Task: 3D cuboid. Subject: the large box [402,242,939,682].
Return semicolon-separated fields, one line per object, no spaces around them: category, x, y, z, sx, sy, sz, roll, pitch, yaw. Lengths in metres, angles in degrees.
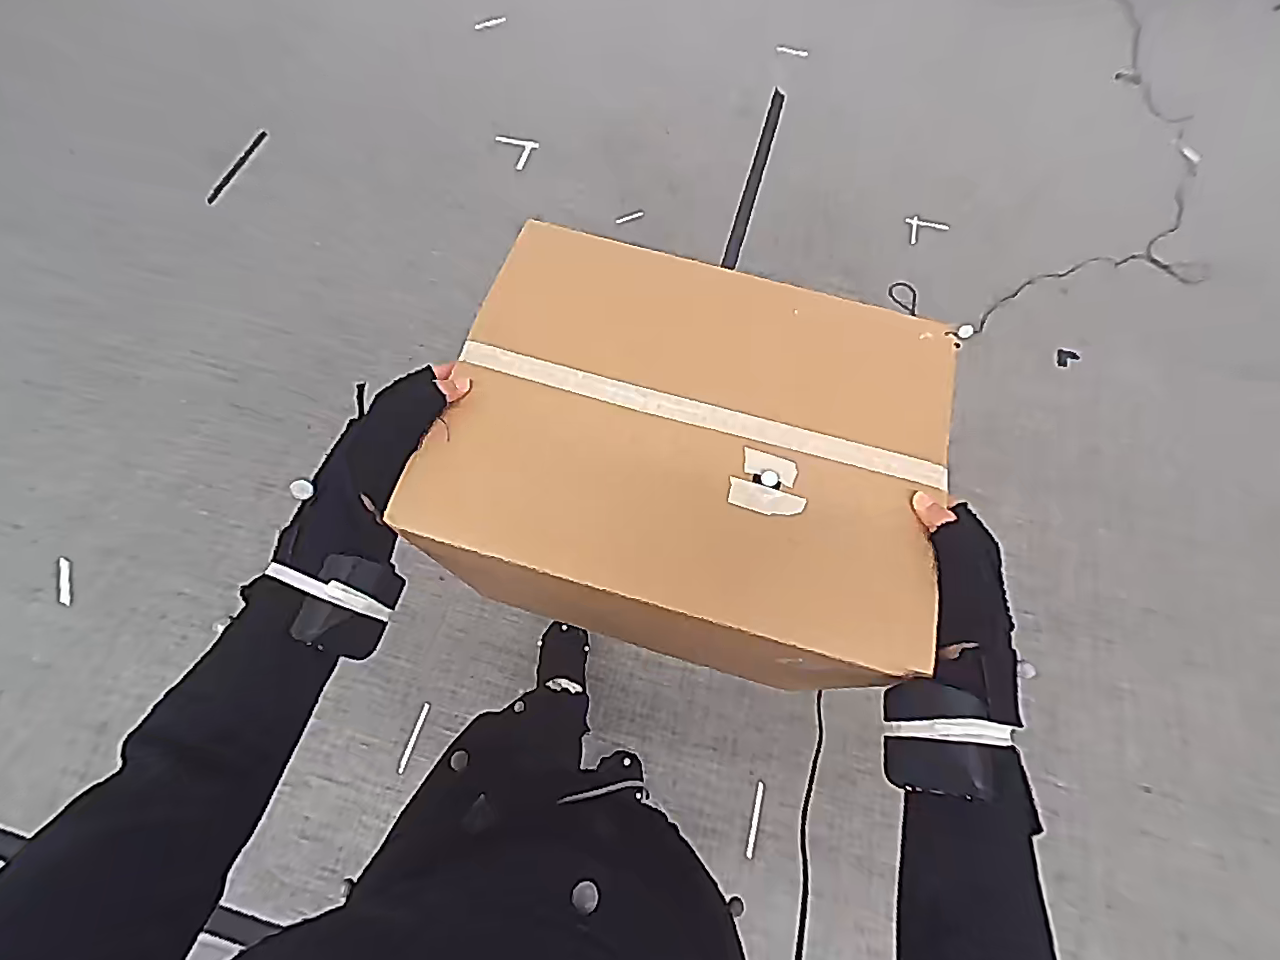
large box;0.038;0.009;0.590;0.408;0.320;0.320;16;69;3
